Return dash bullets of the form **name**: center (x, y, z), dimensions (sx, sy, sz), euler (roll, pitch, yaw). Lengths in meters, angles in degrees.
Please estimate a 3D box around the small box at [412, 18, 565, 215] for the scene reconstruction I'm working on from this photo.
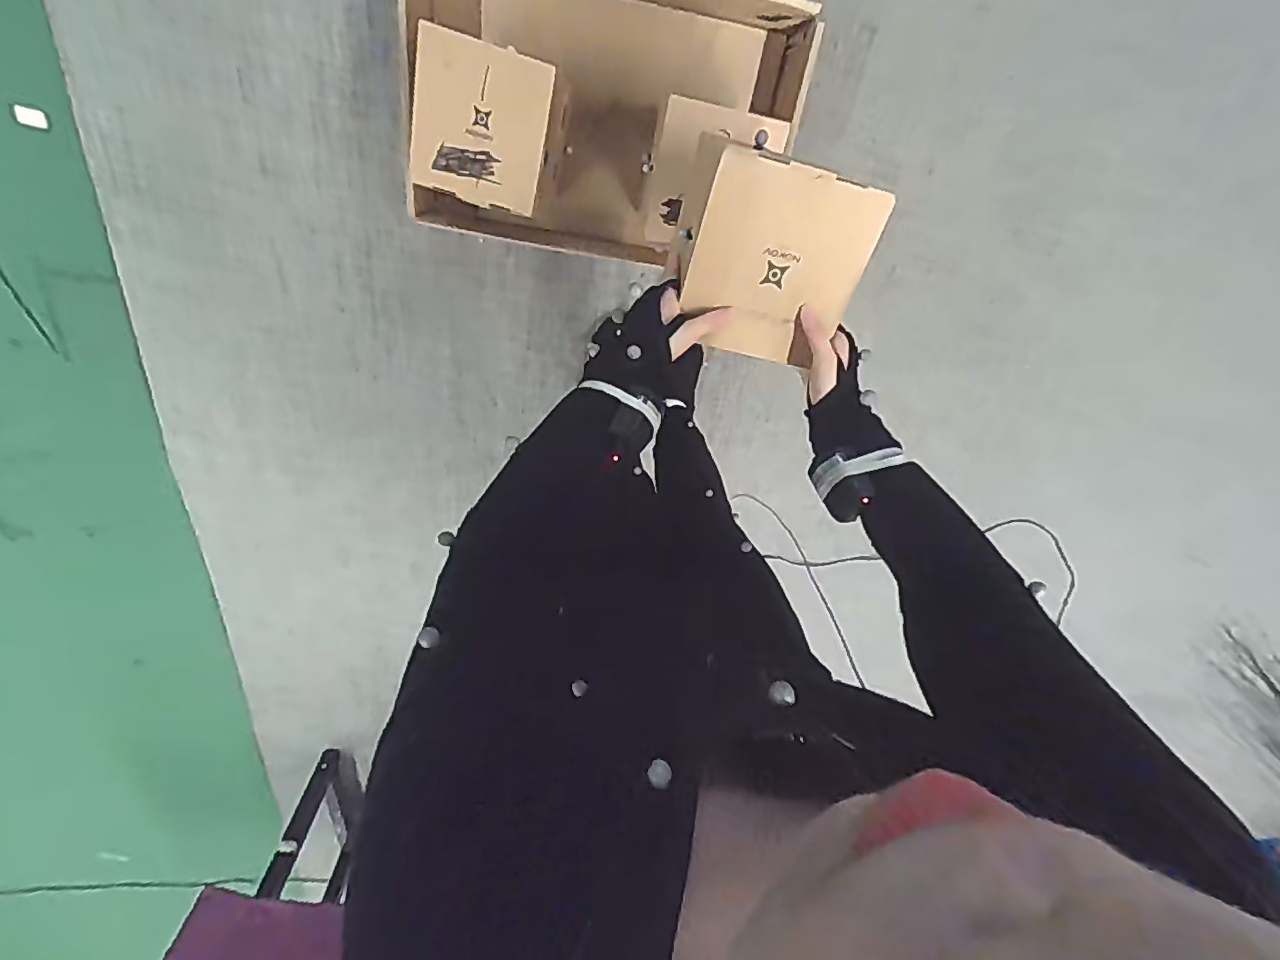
- **small box**: center (-0.204, -0.494, 0.757), dimensions (0.168, 0.176, 0.179), euler (12, 118, -10)

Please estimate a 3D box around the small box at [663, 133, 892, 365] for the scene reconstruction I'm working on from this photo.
- **small box**: center (0.125, -0.252, 0.582), dimensions (0.168, 0.176, 0.179), euler (11, 125, -9)
